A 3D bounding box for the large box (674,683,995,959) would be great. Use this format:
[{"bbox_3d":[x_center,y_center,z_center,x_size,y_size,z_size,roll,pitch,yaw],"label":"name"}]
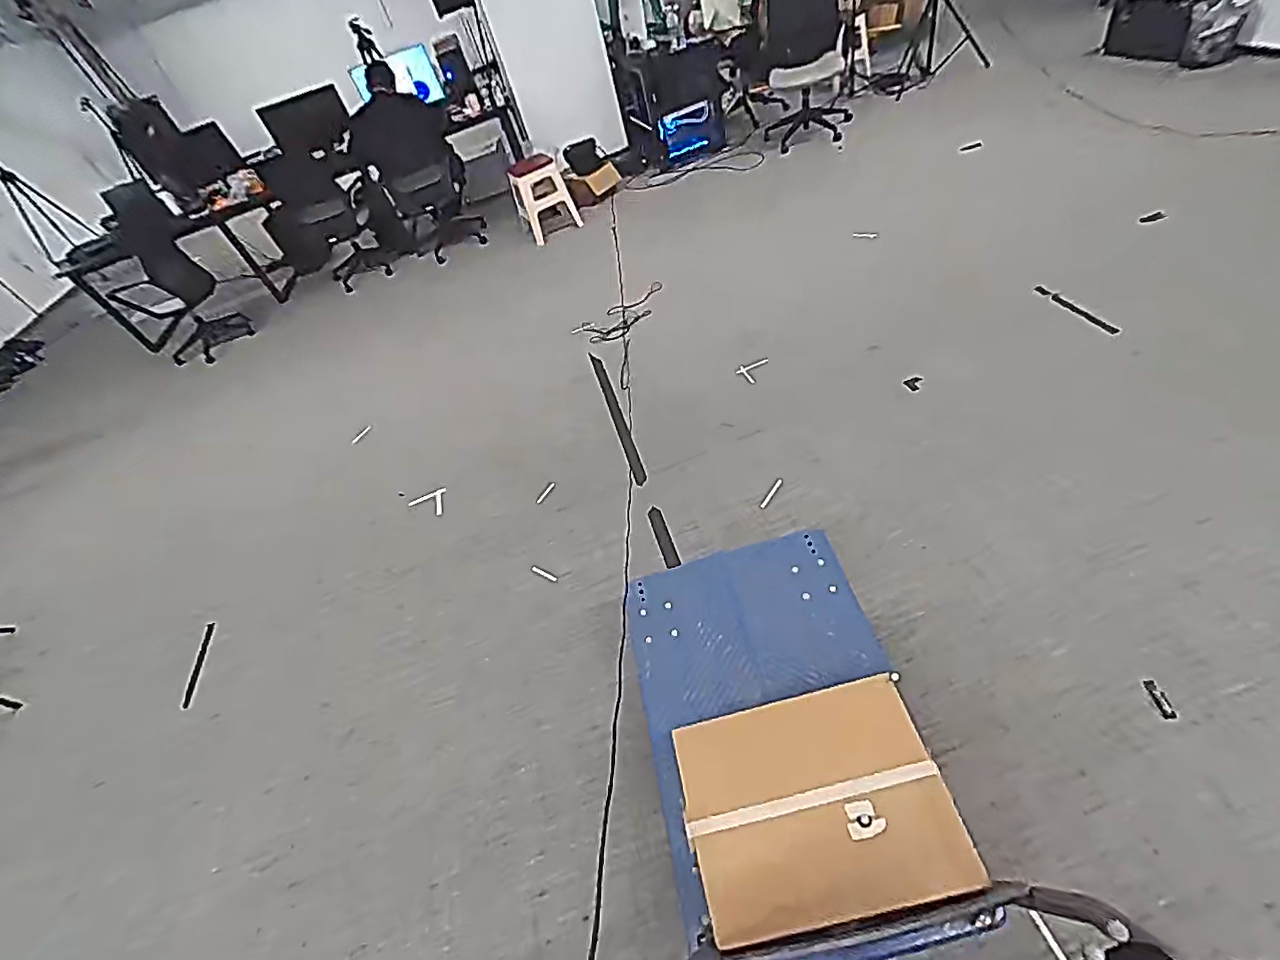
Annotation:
[{"bbox_3d":[0.309,0.614,0.962,0.408,0.320,0.320,-17,50,3],"label":"large box"}]
